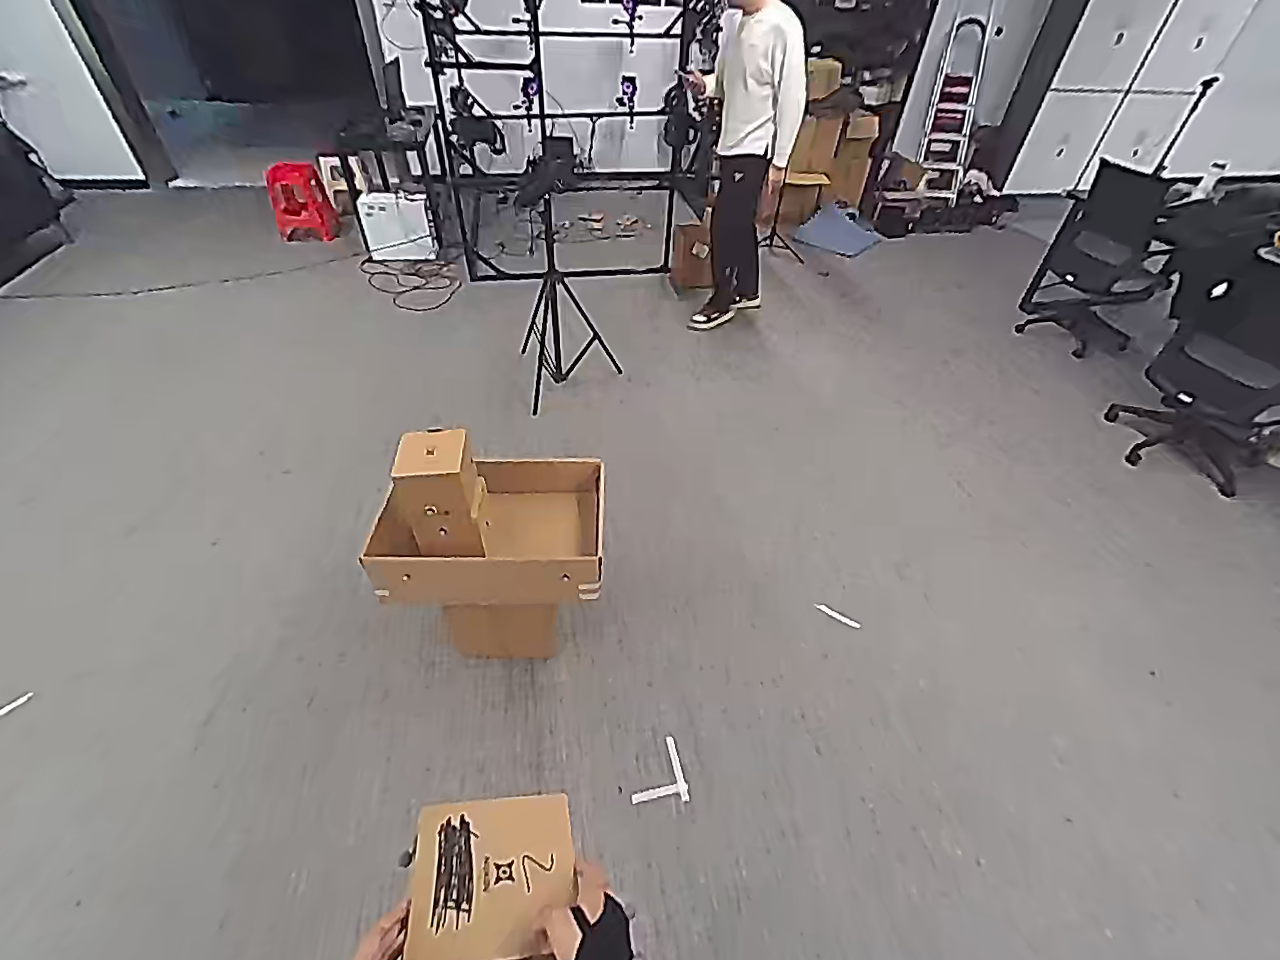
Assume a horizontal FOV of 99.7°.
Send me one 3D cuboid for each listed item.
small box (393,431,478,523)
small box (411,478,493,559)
[{"bbox_3d":[-0.529,-0.009,1.423,0.168,0.176,0.179,-4,43,-6],"label":"small box"},{"bbox_3d":[-0.524,0.112,1.534,0.179,0.176,0.168,-2,43,-6],"label":"small box"}]
